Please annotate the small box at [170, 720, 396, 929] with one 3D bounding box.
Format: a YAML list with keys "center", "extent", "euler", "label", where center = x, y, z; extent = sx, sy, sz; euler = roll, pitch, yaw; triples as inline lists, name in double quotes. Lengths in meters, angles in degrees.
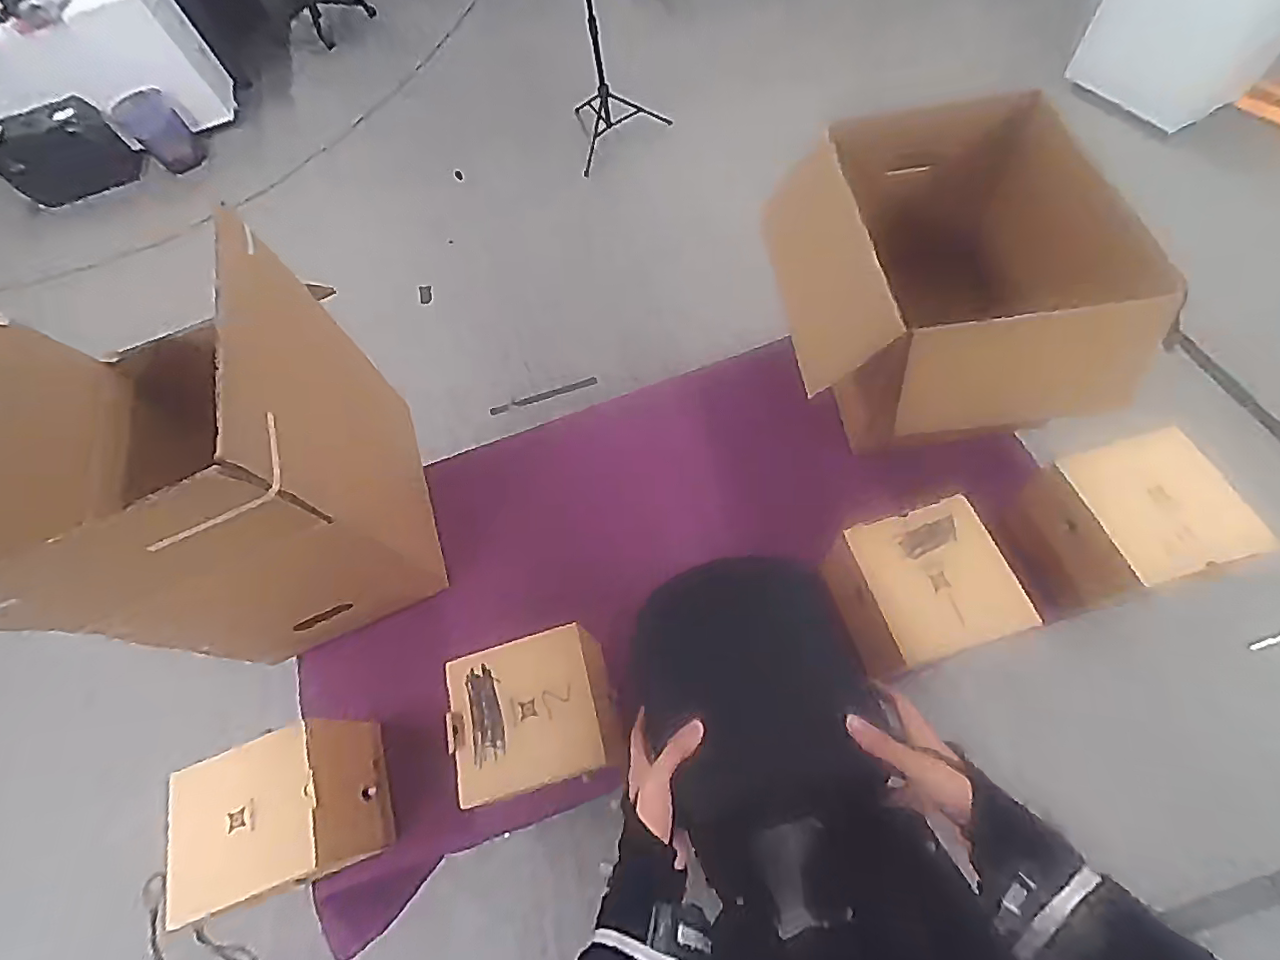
- center: [-0.452, 0.433, 0.703]
  extent: [0.179, 0.176, 0.168]
  euler: [-22, 63, -4]
  label: "small box"

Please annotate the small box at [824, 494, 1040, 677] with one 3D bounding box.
- center: [0.365, 0.147, 0.721]
  extent: [0.168, 0.176, 0.179]
  euler: [-18, 64, 0]
  label: "small box"

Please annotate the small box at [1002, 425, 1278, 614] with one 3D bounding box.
- center: [0.635, 0.059, 0.722]
  extent: [0.168, 0.176, 0.179]
  euler: [-17, 63, 1]
  label: "small box"
